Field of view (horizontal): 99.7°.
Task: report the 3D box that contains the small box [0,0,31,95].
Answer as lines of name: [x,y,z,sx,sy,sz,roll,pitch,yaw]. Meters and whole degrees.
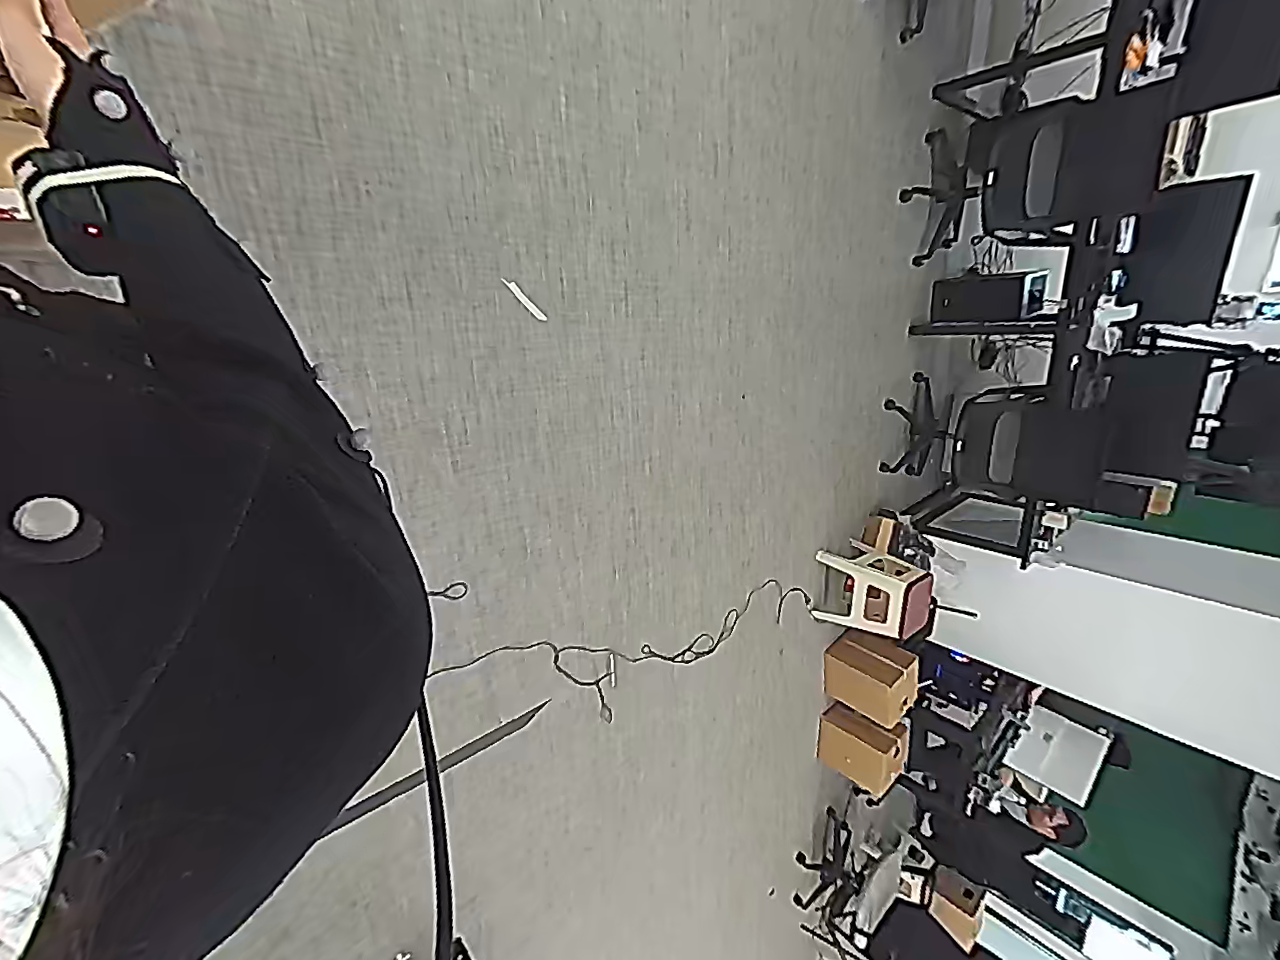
small box: [-0.527,-0.370,0.336,0.179,0.176,0.168,-14,112,-42]

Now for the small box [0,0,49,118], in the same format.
small box: [-0.636,-0.430,0.447,0.179,0.176,0.168,-10,110,-43]
